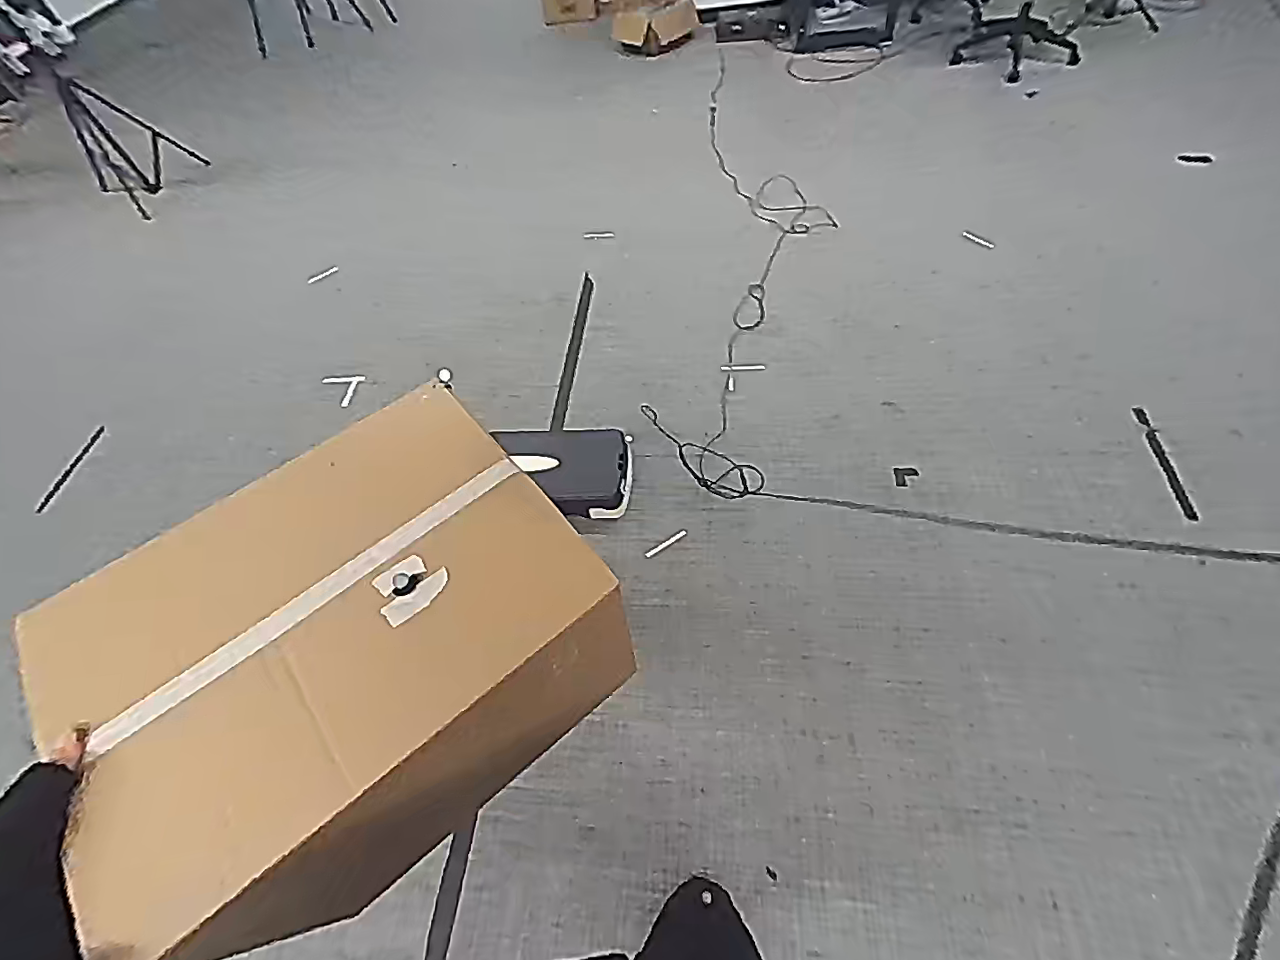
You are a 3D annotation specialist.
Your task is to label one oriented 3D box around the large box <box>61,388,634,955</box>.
[{"bbox_3d":[-0.258,0.183,0.596,0.408,0.320,0.320,-36,63,-19],"label":"large box"}]
